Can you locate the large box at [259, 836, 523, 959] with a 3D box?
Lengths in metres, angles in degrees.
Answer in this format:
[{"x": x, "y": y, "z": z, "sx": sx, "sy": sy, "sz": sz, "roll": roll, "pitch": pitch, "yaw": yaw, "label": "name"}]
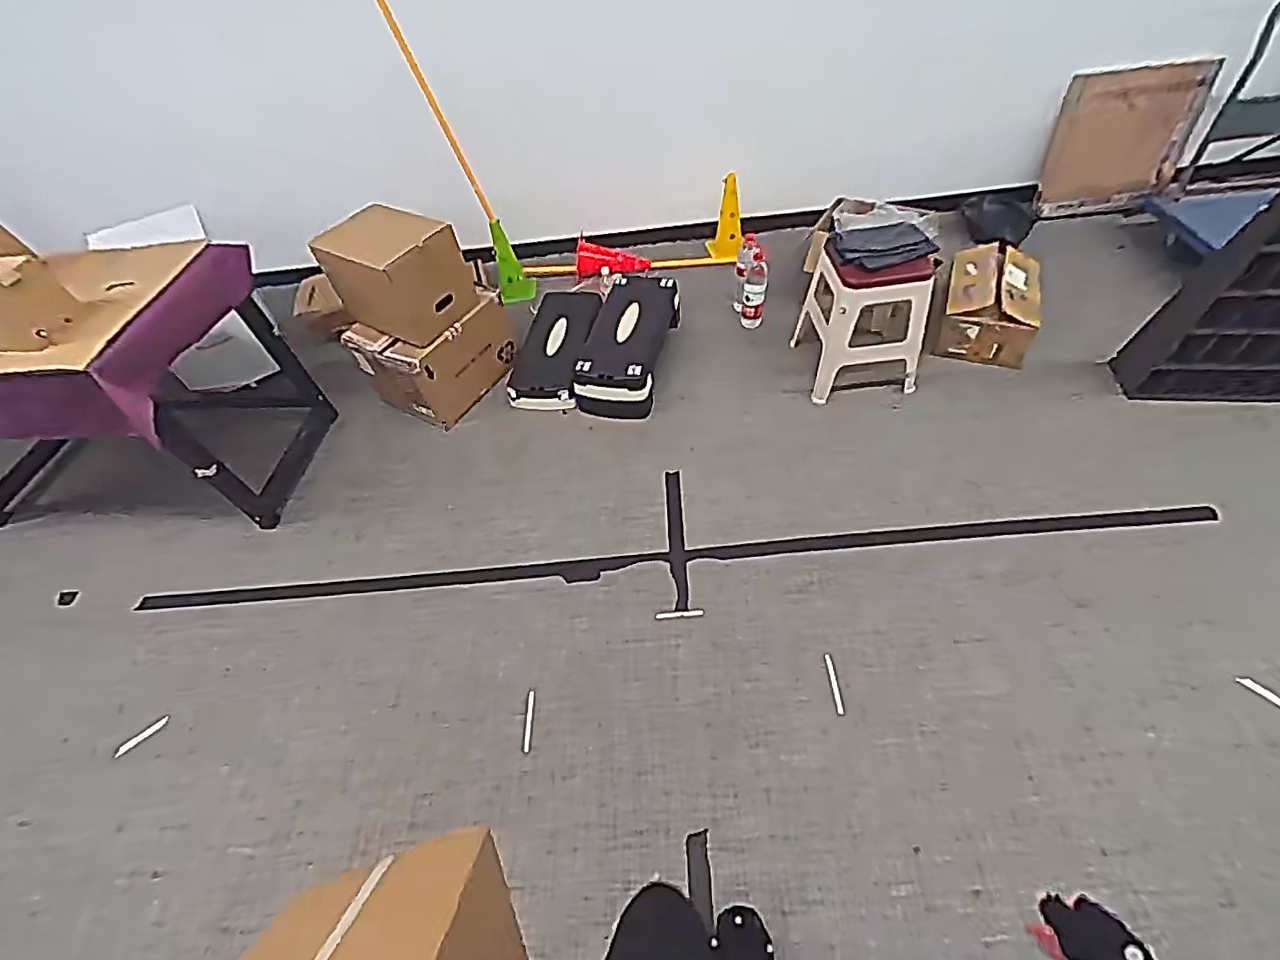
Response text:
[{"x": -0.324, "y": 0.740, "z": 0.652, "sx": 0.320, "sy": 0.408, "sz": 0.320, "roll": -19, "pitch": 86, "yaw": -5, "label": "large box"}]
